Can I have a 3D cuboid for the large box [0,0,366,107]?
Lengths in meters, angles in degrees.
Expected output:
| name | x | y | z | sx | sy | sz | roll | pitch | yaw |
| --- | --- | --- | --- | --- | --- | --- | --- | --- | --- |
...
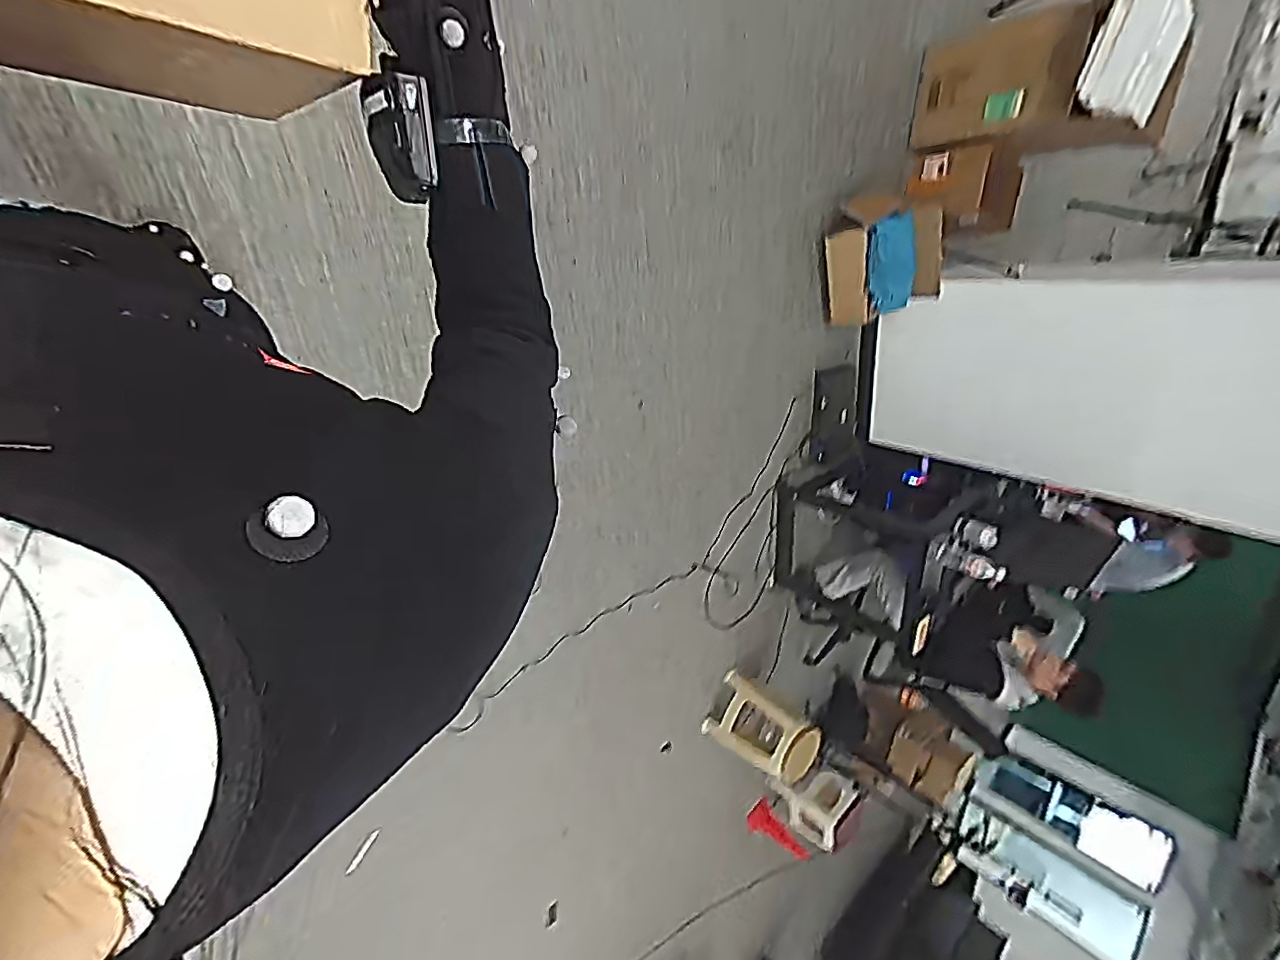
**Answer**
| name | x | y | z | sx | sy | sz | roll | pitch | yaw |
| --- | --- | --- | --- | --- | --- | --- | --- | --- | --- |
| large box | -0.400 | -0.403 | 0.242 | 0.408 | 0.320 | 0.320 | -15 | 122 | -39 |
